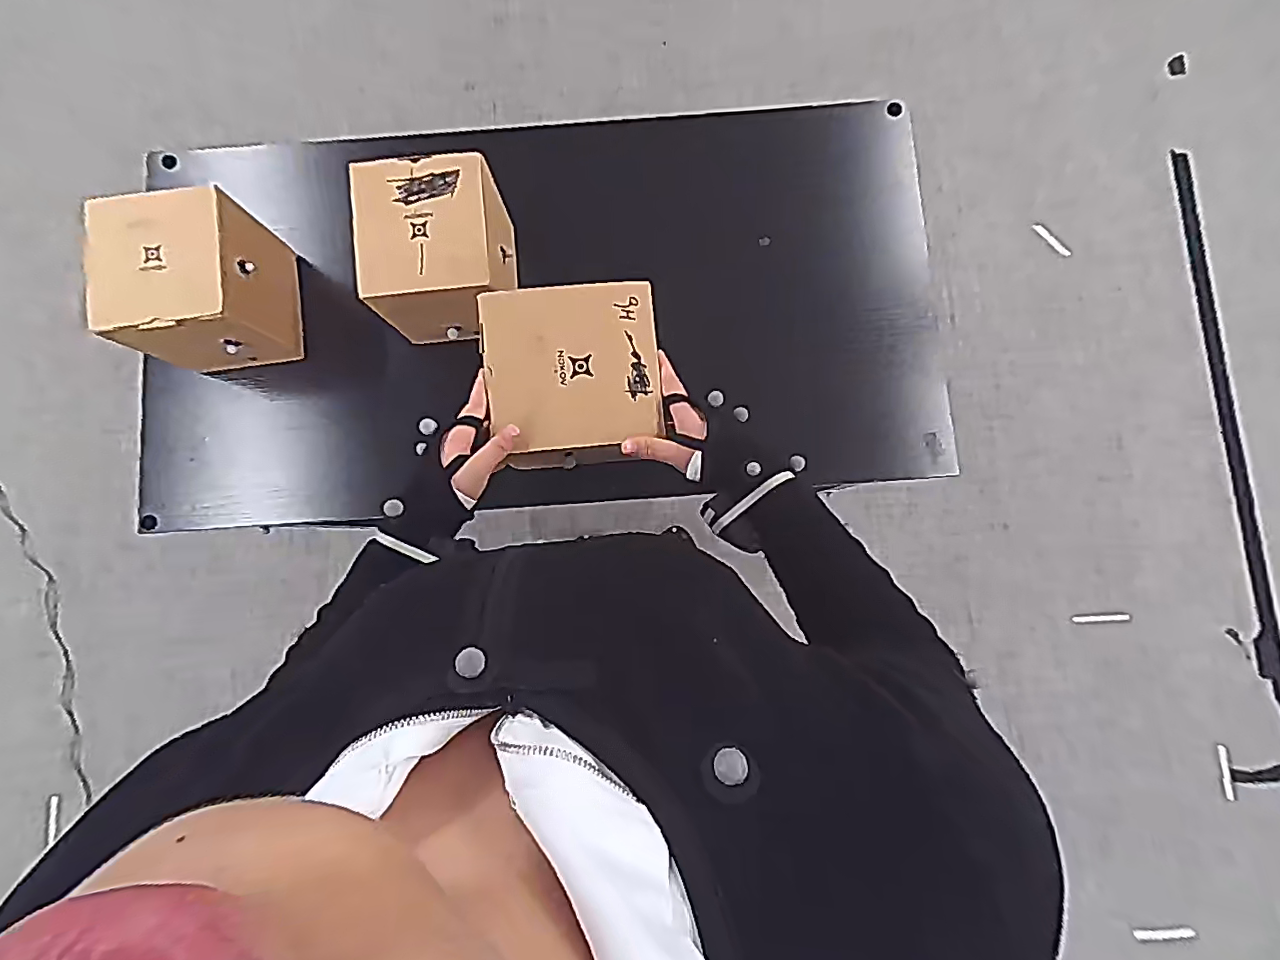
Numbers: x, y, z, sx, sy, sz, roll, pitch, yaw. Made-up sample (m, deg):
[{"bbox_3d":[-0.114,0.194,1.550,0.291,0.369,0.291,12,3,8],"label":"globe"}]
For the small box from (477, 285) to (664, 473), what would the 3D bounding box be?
[{"bbox_3d":[-0.072,-0.102,0.611,0.179,0.176,0.168,-5,86,-4],"label":"small box"}]

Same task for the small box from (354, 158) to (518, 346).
[{"bbox_3d":[-0.268,-0.300,0.741,0.168,0.176,0.179,-5,85,0],"label":"small box"}]

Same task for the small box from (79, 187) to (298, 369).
[{"bbox_3d":[-0.598,-0.260,0.738,0.168,0.176,0.179,-8,83,-2],"label":"small box"}]
